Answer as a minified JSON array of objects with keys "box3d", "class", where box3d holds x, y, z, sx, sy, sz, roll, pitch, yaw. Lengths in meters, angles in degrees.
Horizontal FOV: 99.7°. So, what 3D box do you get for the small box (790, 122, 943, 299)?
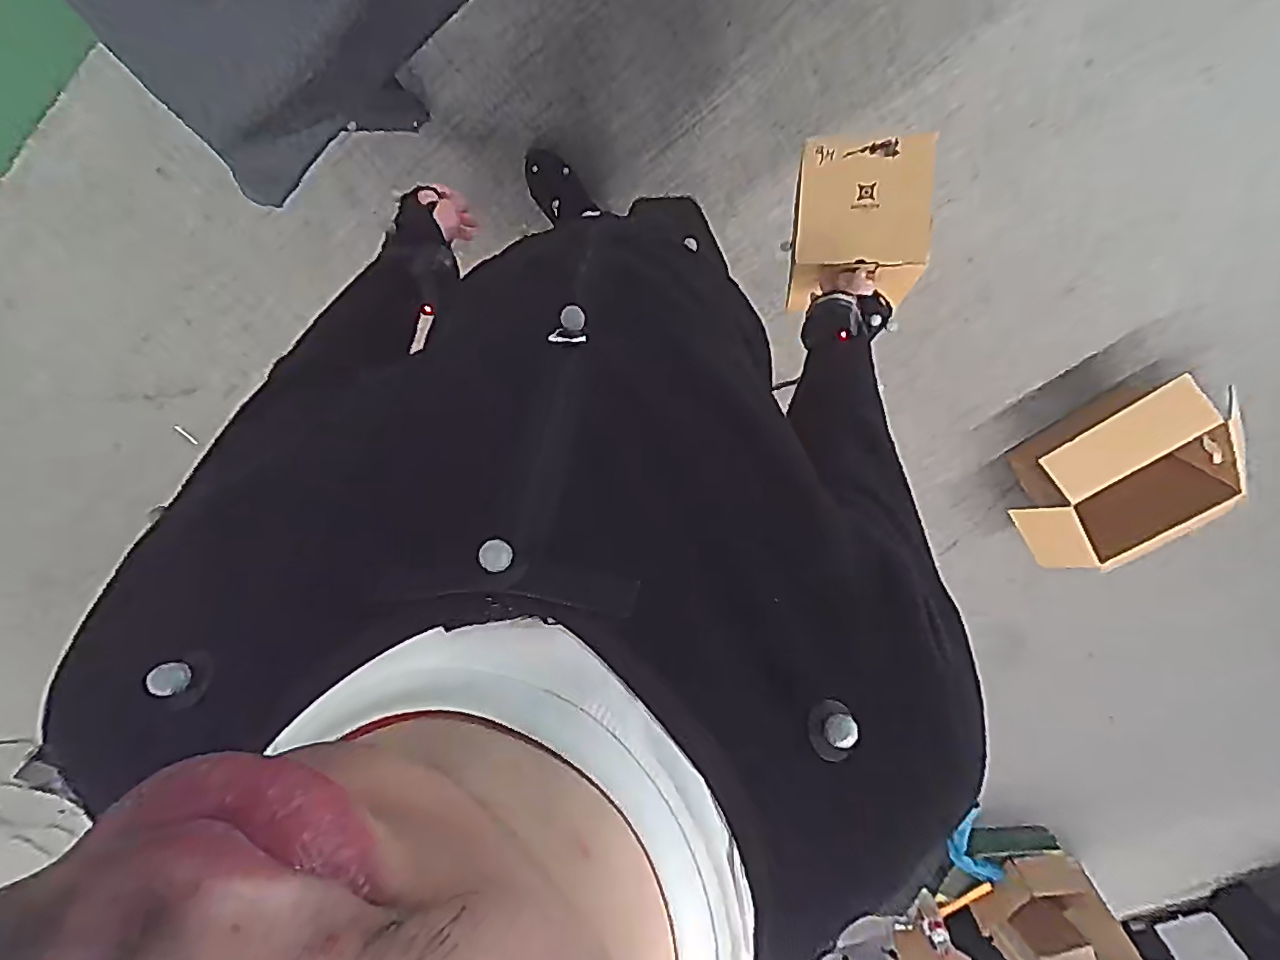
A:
[{"box3d":[0.308,-0.368,0.770,0.168,0.176,0.179,5,90,12],"class":"small box"}]
